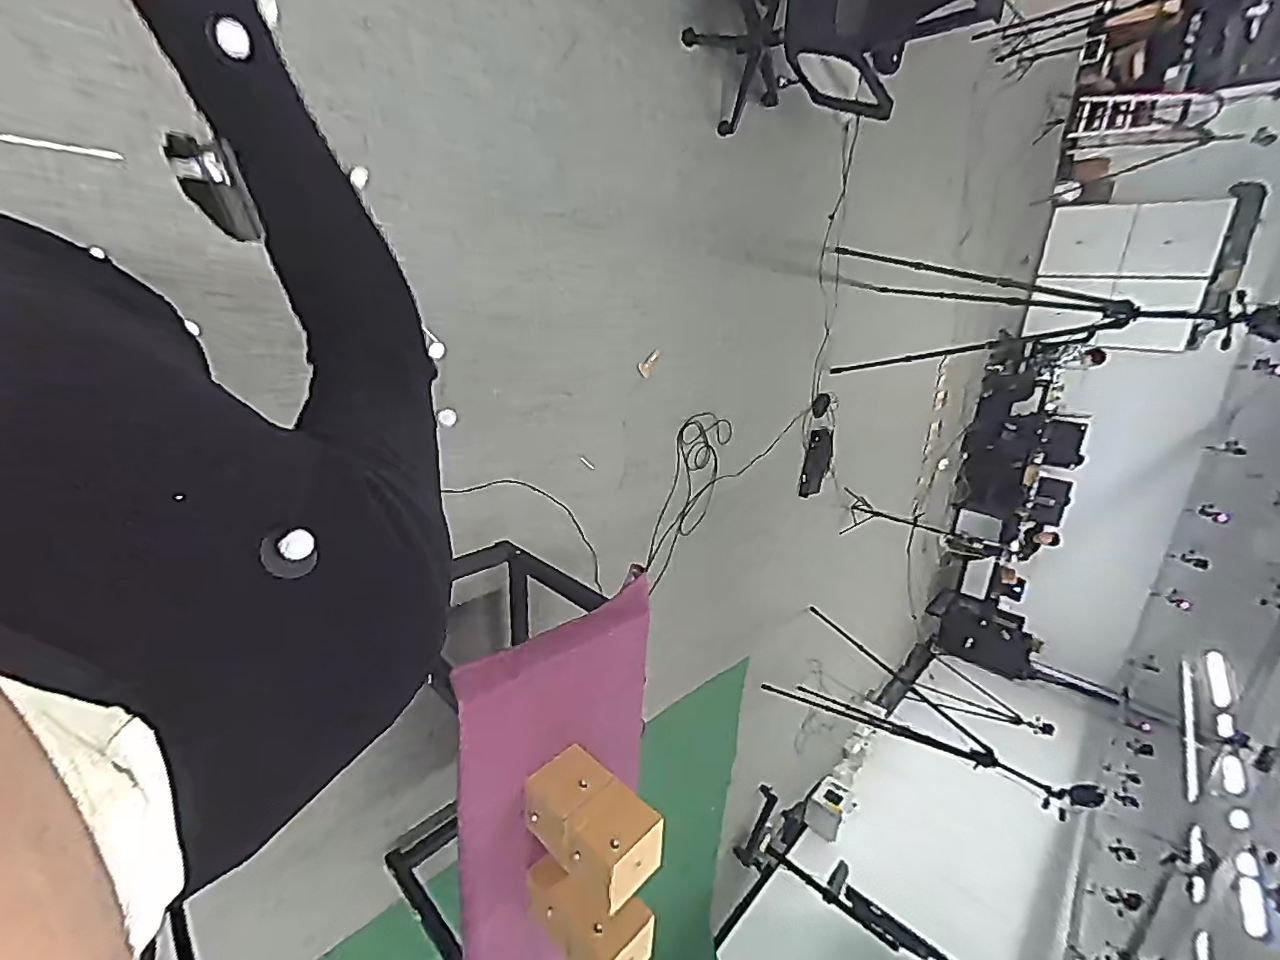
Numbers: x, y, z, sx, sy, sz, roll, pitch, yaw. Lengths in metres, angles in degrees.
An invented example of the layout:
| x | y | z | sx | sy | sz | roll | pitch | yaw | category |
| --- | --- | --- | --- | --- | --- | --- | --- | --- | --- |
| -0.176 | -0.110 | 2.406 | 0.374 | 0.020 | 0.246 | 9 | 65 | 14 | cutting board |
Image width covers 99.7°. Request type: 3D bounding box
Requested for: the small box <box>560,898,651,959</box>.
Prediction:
| x | y | z | sx | sy | sz | roll | pitch | yaw | category |
| --- | --- | --- | --- | --- | --- | --- | --- | --- | --- |
| -0.094 | 1.220 | 1.424 | 0.179 | 0.176 | 0.168 | -14 | 115 | -46 | small box |

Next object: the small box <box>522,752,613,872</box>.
| x | y | z | sx | sy | sz | roll | pitch | yaw | category |
| --- | --- | --- | --- | --- | --- | --- | --- | --- | --- |
| -0.192 | 0.865 | 1.431 | 0.179 | 0.176 | 0.168 | -16 | 115 | -45 | small box |

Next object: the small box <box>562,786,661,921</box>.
| x | y | z | sx | sy | sz | roll | pitch | yaw | category |
| --- | --- | --- | --- | --- | --- | --- | --- | --- | --- |
| -0.072 | 0.905 | 1.329 | 0.179 | 0.176 | 0.168 | -16 | 117 | -44 | small box |
